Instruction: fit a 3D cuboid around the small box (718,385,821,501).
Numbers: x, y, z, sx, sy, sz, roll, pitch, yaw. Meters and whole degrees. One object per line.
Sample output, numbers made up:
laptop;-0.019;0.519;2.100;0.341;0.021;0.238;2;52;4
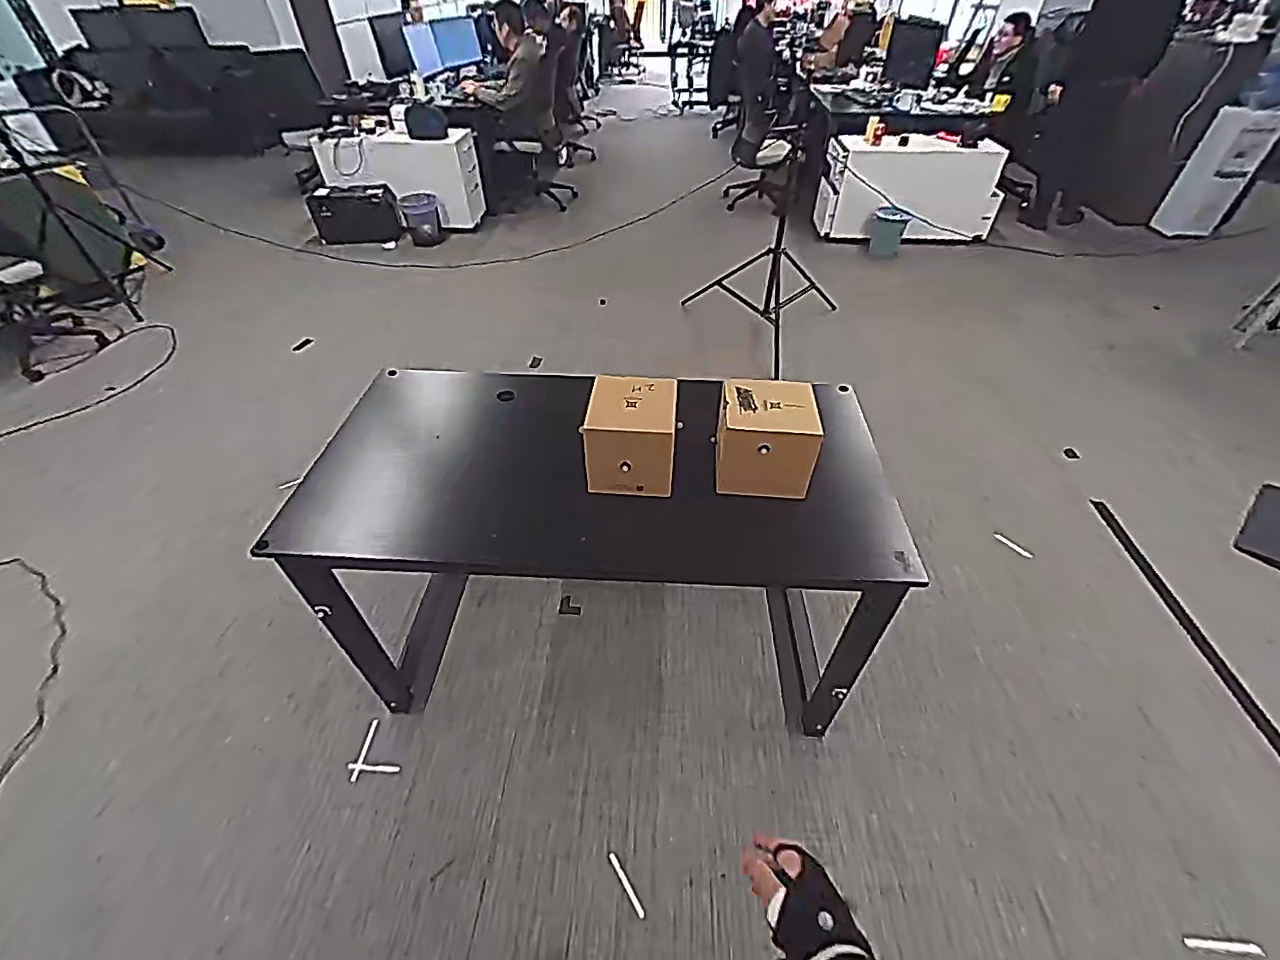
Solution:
small box;0.250;-0.073;1.091;0.179;0.176;0.168;4;44;4

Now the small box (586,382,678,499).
small box;-0.011;-0.078;1.097;0.168;0.176;0.179;3;44;3
